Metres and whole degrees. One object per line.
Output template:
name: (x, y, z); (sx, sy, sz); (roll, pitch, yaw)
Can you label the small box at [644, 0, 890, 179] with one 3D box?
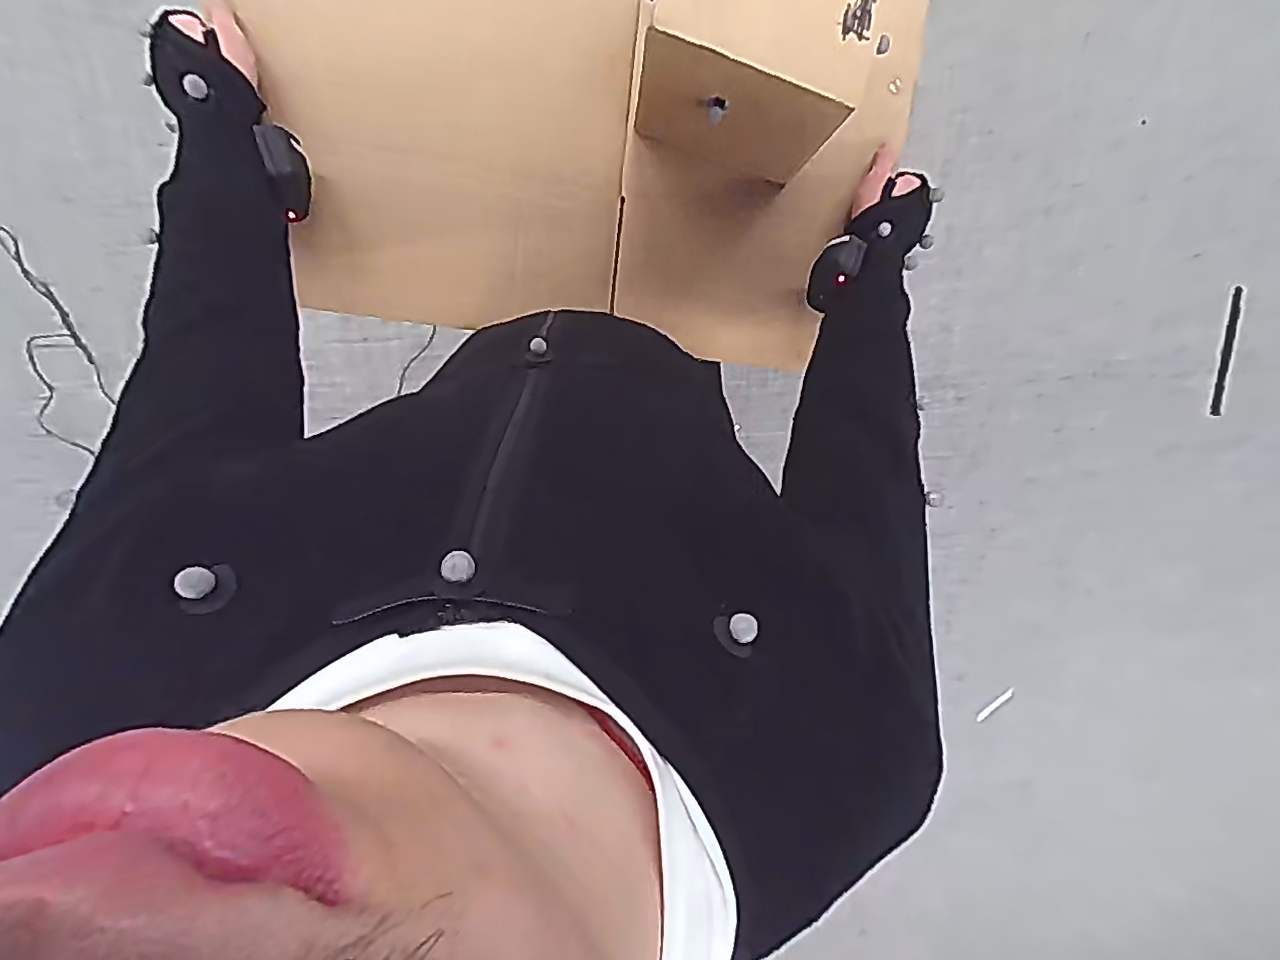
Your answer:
small box: (0.108, -0.409, 0.495); (0.179, 0.176, 0.168); (17, 98, -6)
